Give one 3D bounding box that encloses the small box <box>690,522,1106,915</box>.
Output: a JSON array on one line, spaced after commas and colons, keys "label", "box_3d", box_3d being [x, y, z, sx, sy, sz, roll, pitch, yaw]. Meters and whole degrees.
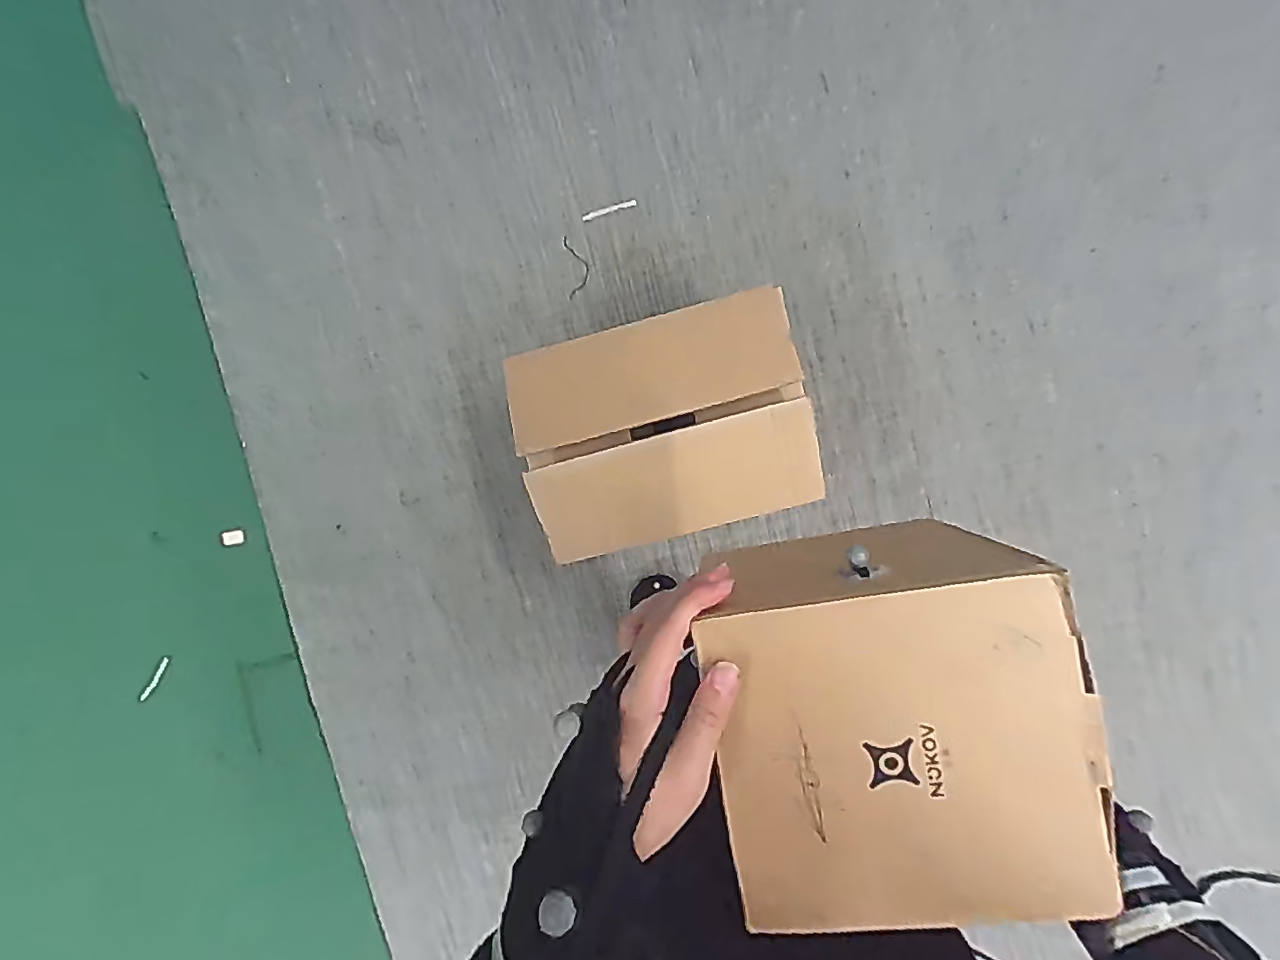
[{"label": "small box", "box_3d": [0.135, 0.127, 0.345, 0.179, 0.176, 0.168, -11, 91, 10]}]
